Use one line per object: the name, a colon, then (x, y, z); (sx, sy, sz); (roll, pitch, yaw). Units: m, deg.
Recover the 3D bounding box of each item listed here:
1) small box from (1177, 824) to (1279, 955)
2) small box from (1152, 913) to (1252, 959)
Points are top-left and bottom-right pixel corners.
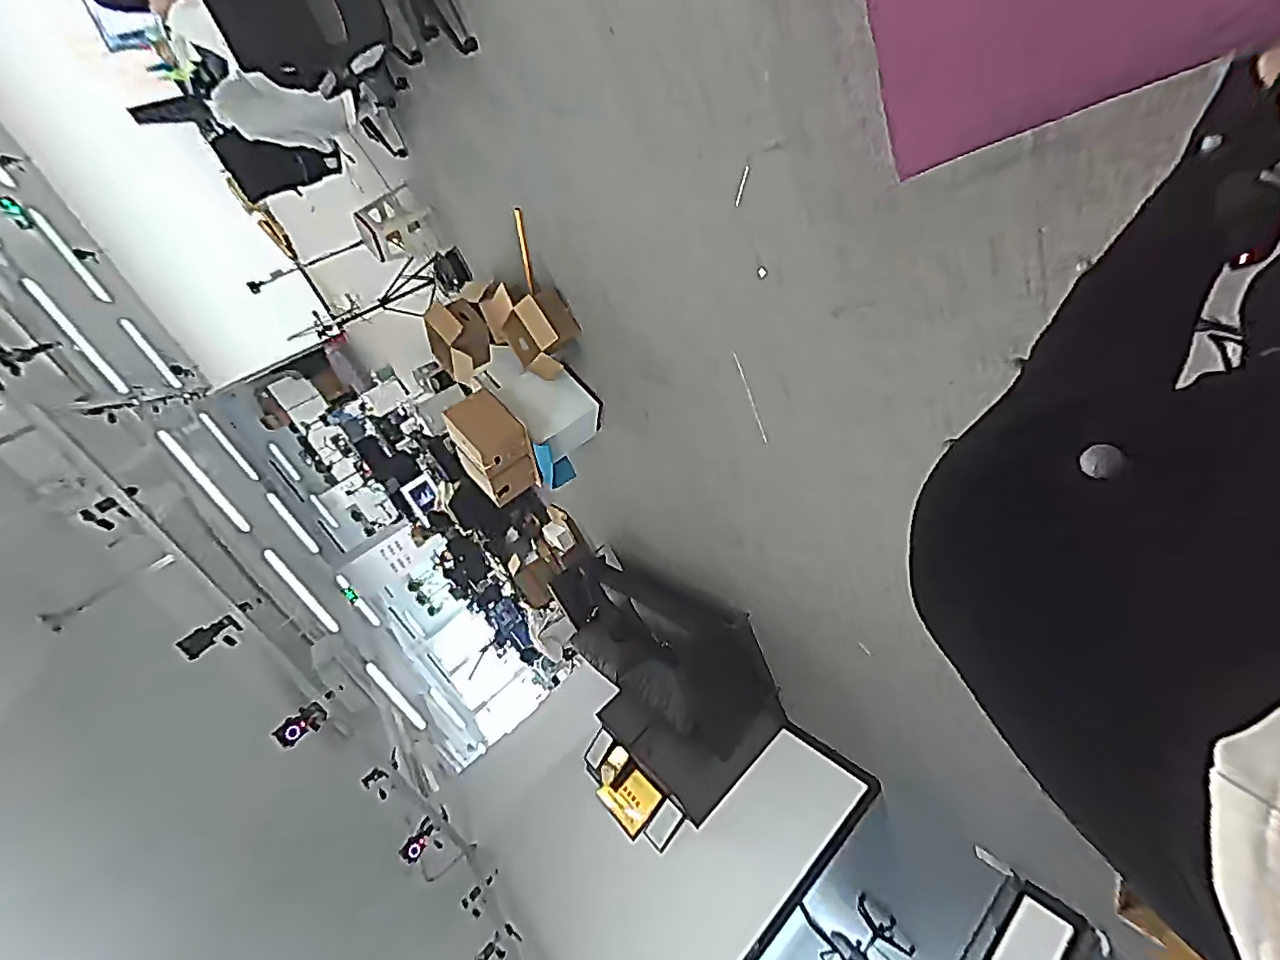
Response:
small box: (1.490, 1.012, 1.350); (0.168, 0.176, 0.179); (21, 142, 52)
small box: (1.454, 1.290, 1.401); (0.168, 0.176, 0.179); (20, 138, 52)
